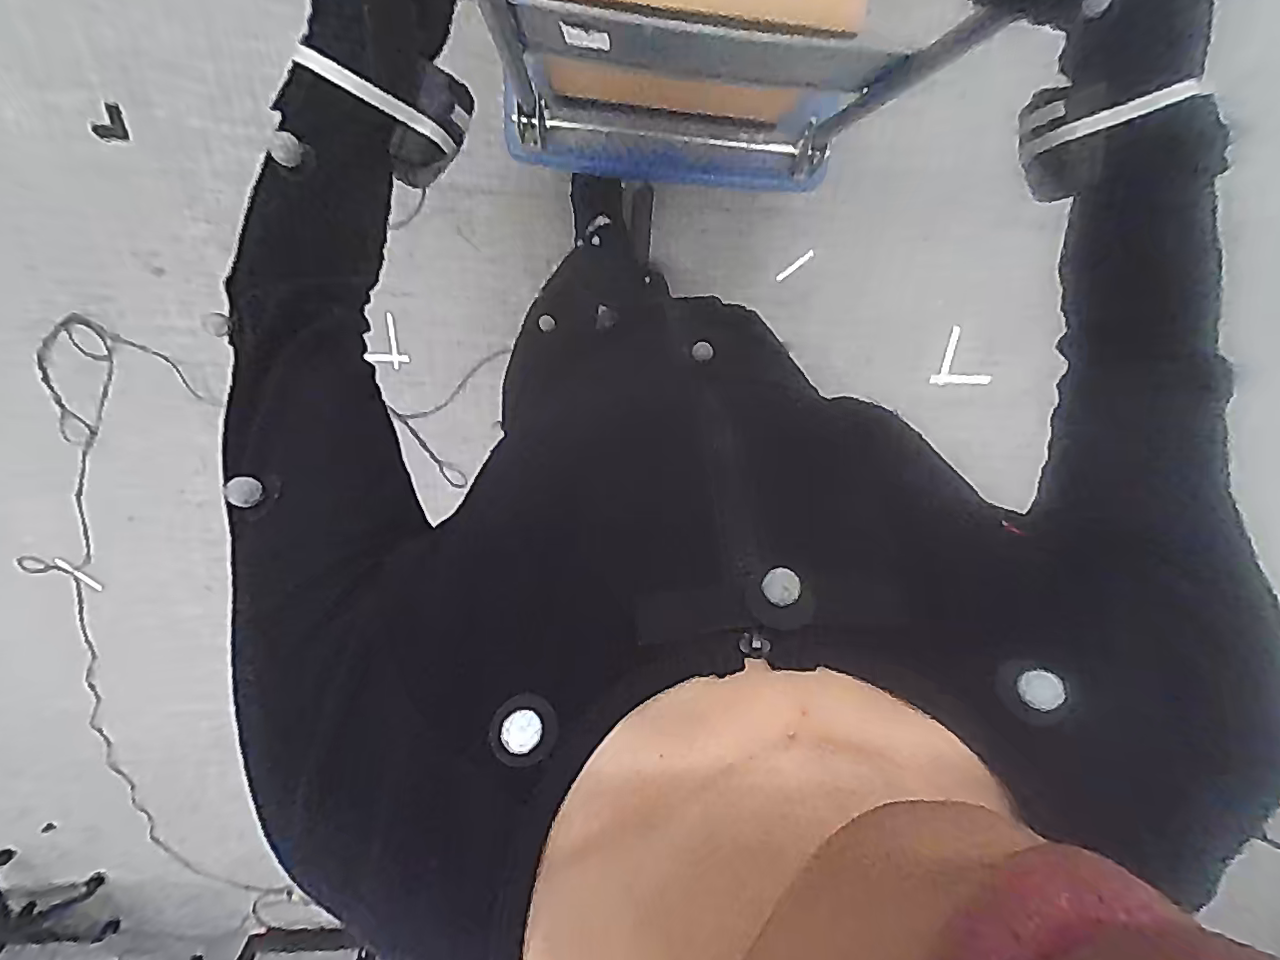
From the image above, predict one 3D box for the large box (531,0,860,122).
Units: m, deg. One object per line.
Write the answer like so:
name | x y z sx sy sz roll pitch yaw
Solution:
large box | 0.061 -0.735 0.745 0.408 0.320 0.320 3 107 -6
